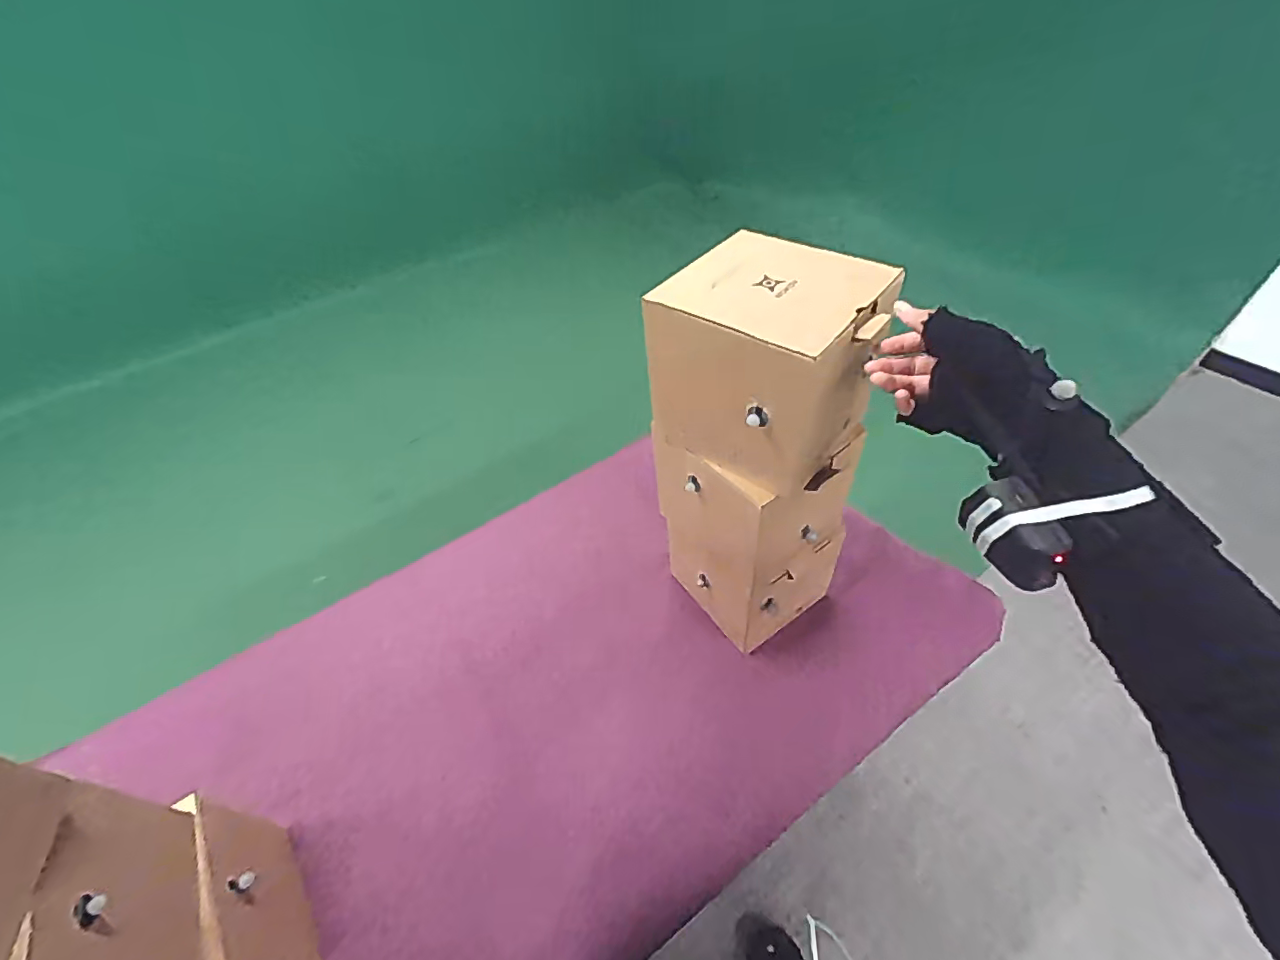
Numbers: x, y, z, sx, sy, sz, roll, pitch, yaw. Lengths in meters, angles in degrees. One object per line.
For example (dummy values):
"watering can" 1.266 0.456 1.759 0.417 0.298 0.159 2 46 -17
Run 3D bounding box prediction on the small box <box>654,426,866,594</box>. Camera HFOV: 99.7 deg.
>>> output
"small box" 0.135 0.003 0.659 0.168 0.176 0.179 -33 52 -21

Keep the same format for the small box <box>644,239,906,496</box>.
"small box" 0.126 -0.108 0.541 0.179 0.176 0.168 31 57 29

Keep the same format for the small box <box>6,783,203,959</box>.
"small box" -0.466 0.369 0.400 0.168 0.176 0.179 -27 52 -18

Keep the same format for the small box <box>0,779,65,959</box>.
"small box" -0.477 0.259 0.279 0.168 0.176 0.179 -13 51 -8

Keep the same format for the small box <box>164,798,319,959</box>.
"small box" -0.457 0.464 0.535 0.168 0.176 0.179 -31 54 -21
